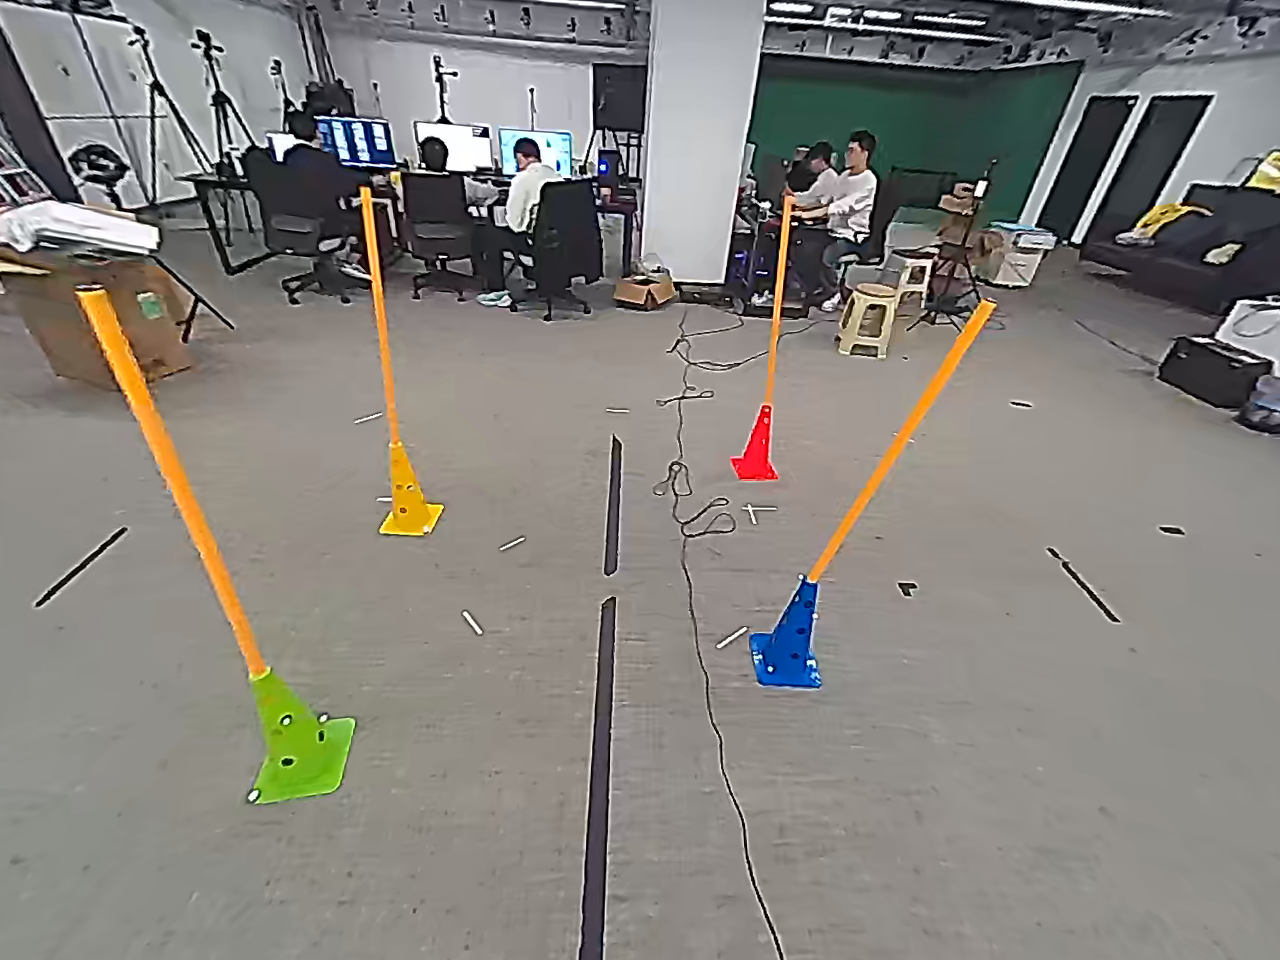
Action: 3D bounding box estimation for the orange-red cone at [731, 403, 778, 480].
[{"bbox_3d":[0.567,-0.196,2.554,0.199,0.360,0.198,-2,34,-6],"label":"orange-red cone"}]

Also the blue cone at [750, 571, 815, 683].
[{"bbox_3d":[0.467,0.432,1.643,0.193,0.380,0.192,4,33,-1],"label":"blue cone"}]

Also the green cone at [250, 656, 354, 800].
[{"bbox_3d":[-0.845,0.559,1.289,0.200,0.368,0.202,-3,33,-12],"label":"green cone"}]
